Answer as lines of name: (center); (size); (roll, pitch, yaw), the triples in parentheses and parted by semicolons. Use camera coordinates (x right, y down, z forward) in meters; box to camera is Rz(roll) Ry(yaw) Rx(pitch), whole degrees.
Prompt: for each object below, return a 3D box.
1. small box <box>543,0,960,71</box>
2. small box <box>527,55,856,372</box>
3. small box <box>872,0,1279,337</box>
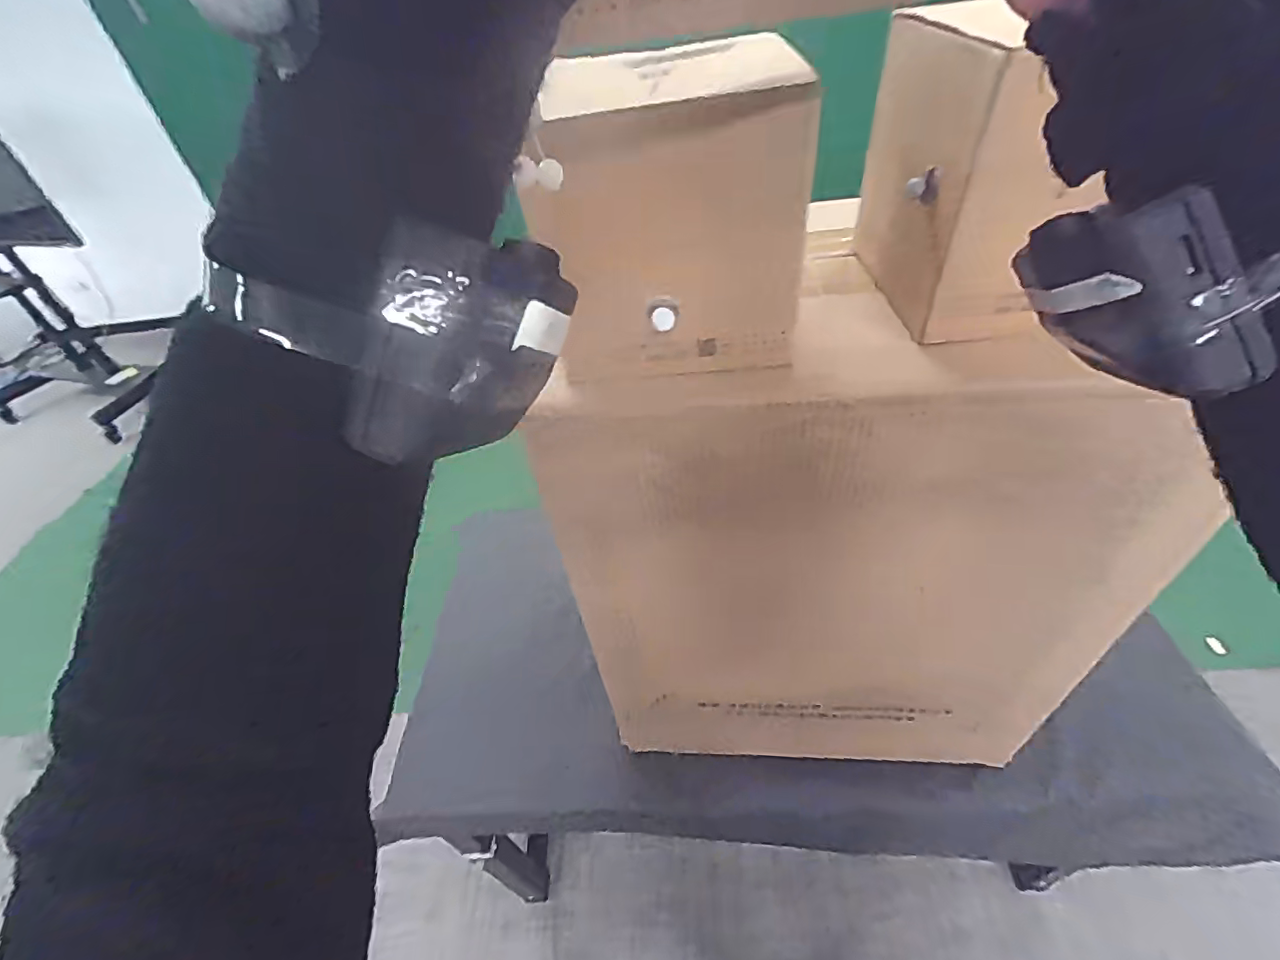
small box: (0.035, -0.270, 0.177); (0.168, 0.176, 0.179); (-15, 68, -7)
small box: (0.038, -0.194, 0.378); (0.168, 0.176, 0.179); (-1, 46, 8)
small box: (0.283, -0.210, 0.371); (0.168, 0.176, 0.179); (-3, 46, 1)
